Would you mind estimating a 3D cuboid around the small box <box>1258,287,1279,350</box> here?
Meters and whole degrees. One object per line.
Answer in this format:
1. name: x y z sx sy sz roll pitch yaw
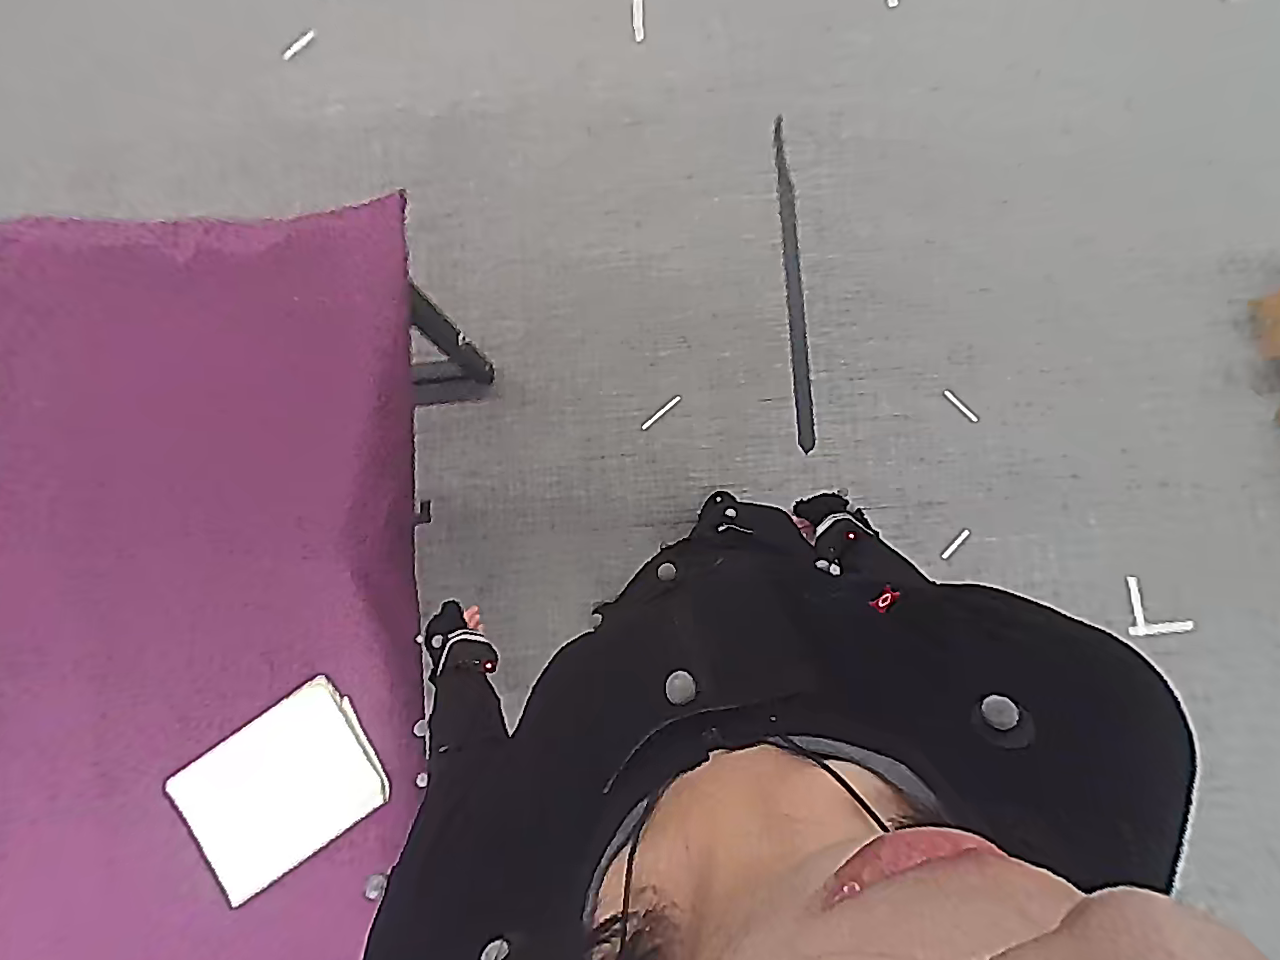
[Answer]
1. small box: 1.853 -0.459 1.460 0.168 0.176 0.179 -5 83 1
